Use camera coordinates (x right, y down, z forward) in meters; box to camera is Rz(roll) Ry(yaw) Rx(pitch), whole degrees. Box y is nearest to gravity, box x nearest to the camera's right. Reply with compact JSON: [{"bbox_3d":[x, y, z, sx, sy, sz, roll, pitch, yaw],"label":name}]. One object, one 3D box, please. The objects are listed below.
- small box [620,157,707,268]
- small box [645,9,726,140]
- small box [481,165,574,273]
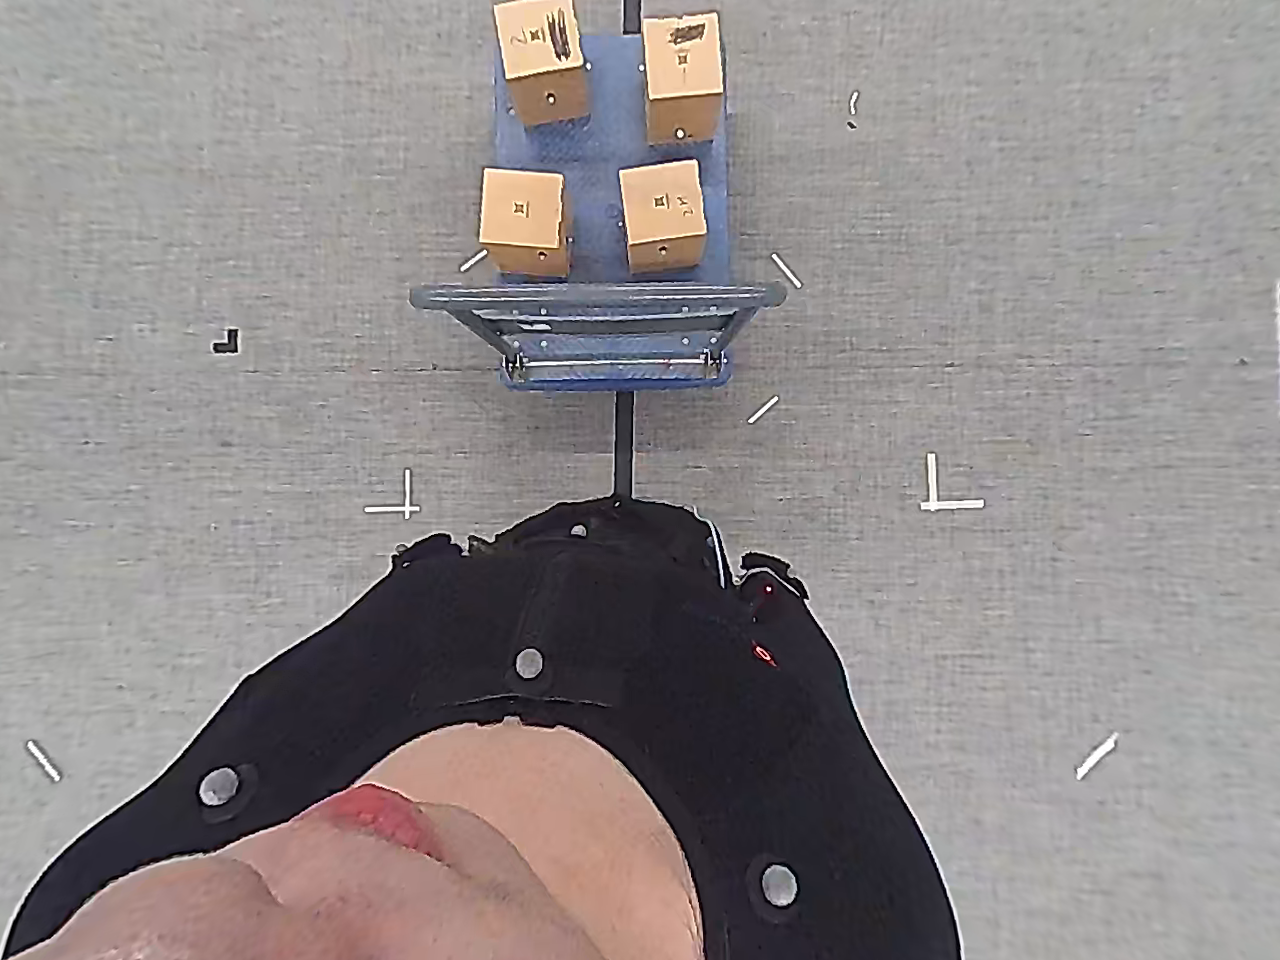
[{"bbox_3d":[0.054,-0.608,1.249,0.179,0.176,0.168,-7,90,1],"label":"small box"},{"bbox_3d":[0.099,-0.926,1.247,0.168,0.176,0.179,-4,91,1],"label":"small box"},{"bbox_3d":[-0.254,-0.596,1.253,0.179,0.176,0.168,4,90,-1],"label":"small box"}]
